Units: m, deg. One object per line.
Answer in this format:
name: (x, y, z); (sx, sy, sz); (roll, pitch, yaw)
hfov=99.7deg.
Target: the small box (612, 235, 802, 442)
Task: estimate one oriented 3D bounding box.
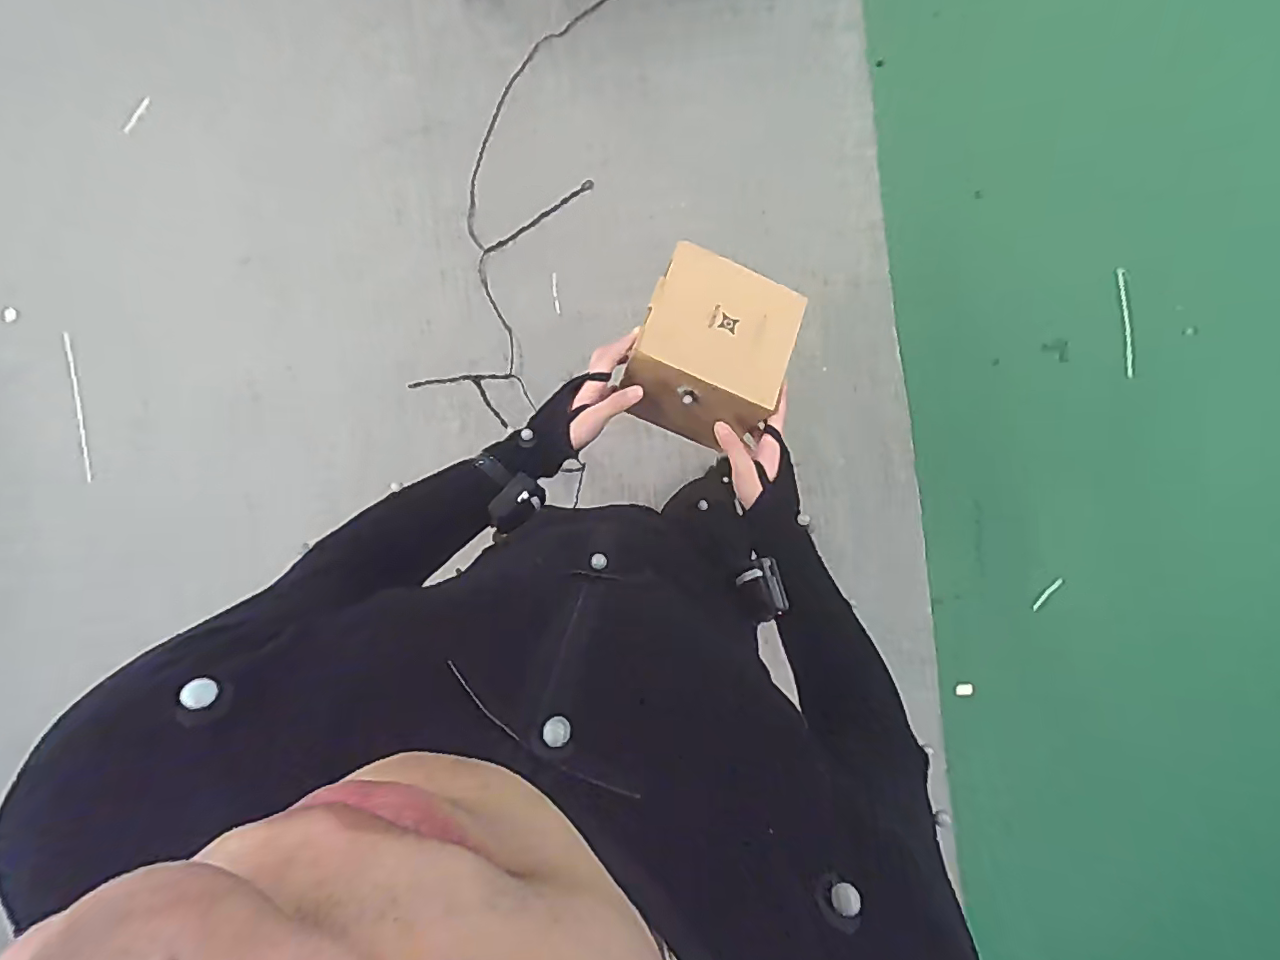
small box: (0.077, -0.170, 0.704); (0.179, 0.176, 0.168); (23, 71, -5)
